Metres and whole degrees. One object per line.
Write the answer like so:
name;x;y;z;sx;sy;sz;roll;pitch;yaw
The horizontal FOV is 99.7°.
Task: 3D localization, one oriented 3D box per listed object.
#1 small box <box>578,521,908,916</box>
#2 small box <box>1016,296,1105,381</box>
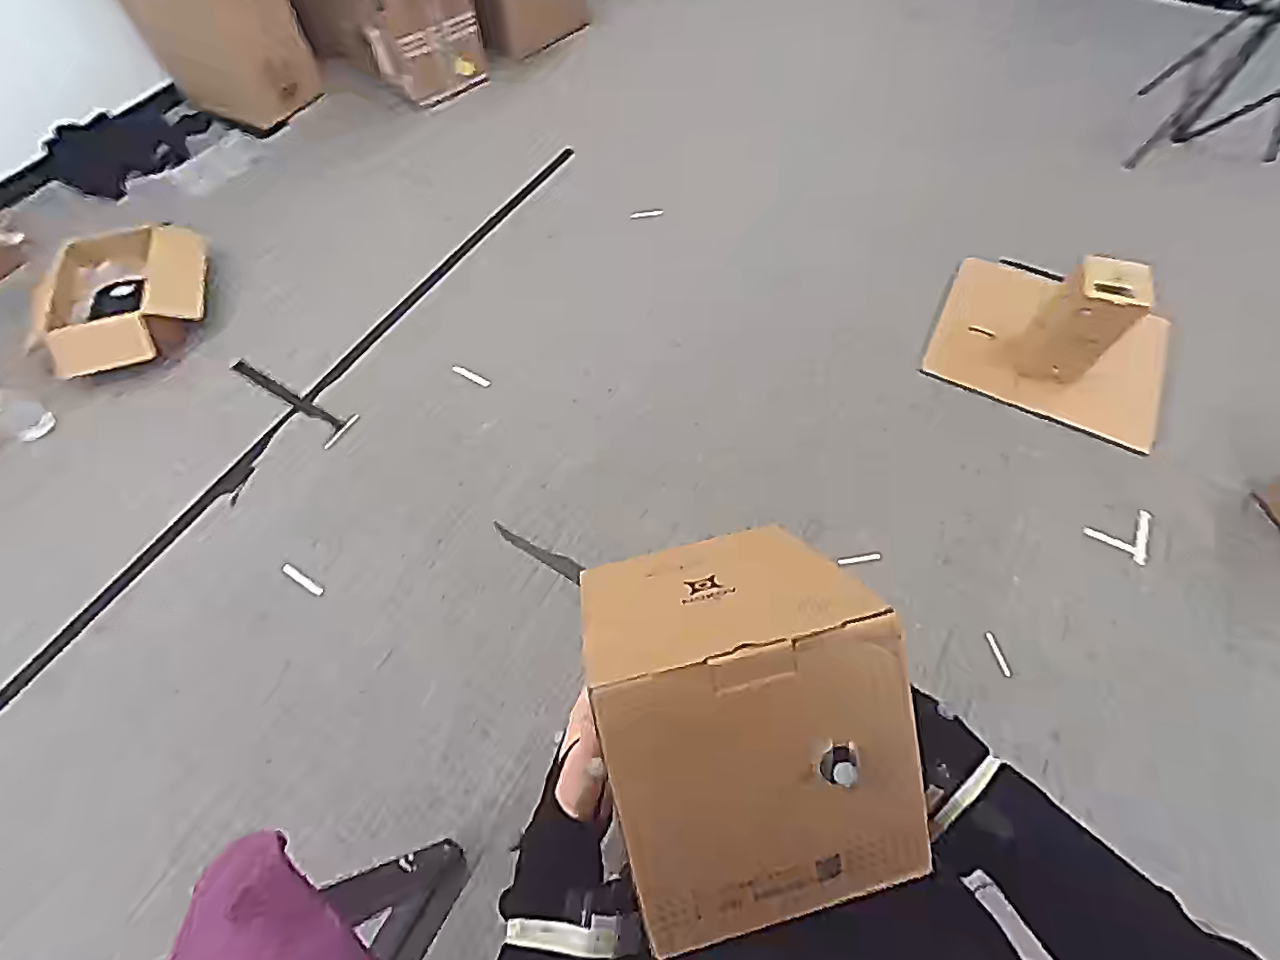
small box;0.056;0.145;0.366;0.168;0.179;0.176;-12;101;-5
small box;1.329;-0.447;1.717;0.168;0.176;0.179;17;65;13
